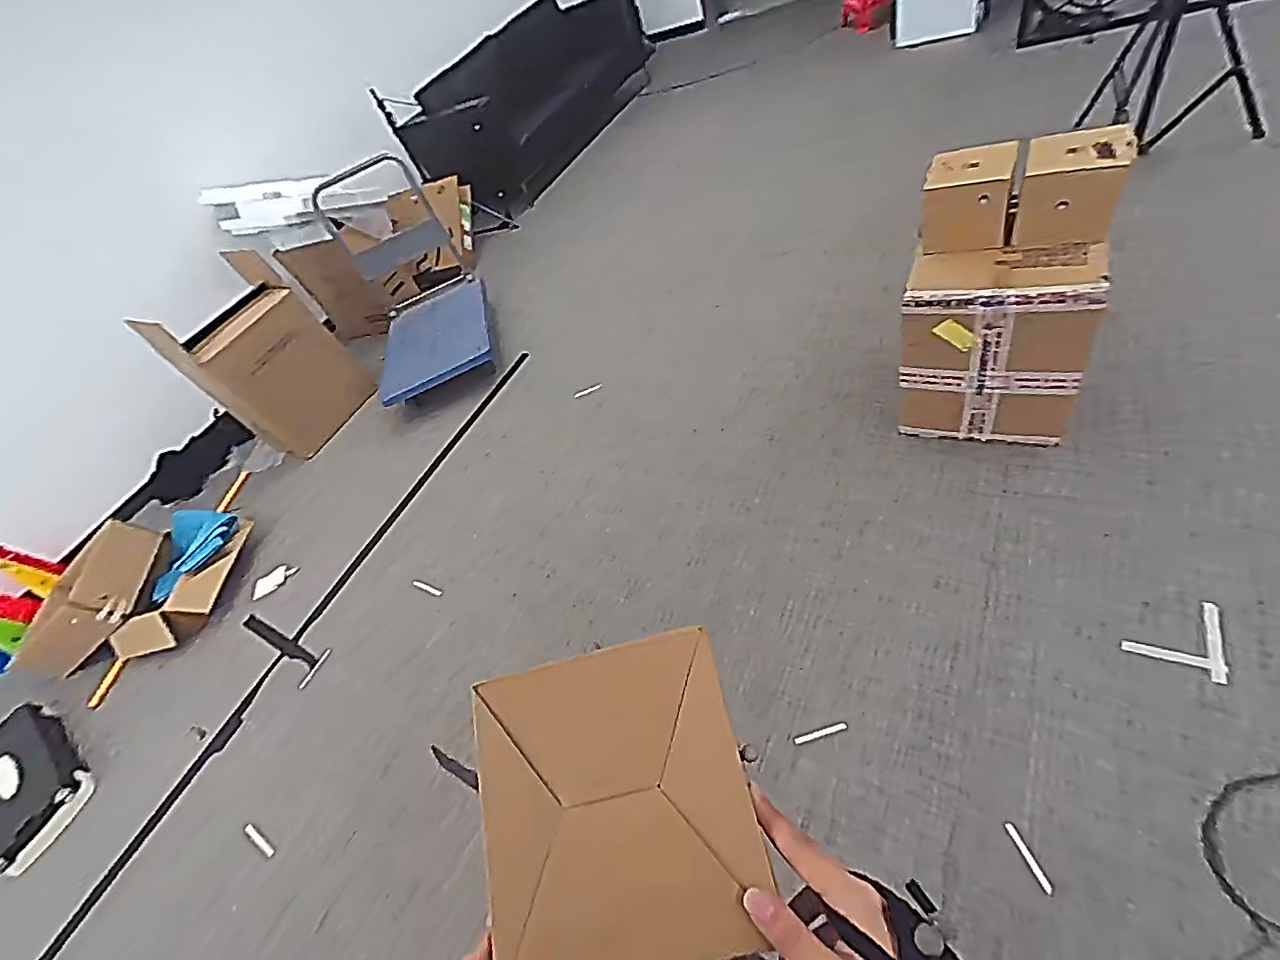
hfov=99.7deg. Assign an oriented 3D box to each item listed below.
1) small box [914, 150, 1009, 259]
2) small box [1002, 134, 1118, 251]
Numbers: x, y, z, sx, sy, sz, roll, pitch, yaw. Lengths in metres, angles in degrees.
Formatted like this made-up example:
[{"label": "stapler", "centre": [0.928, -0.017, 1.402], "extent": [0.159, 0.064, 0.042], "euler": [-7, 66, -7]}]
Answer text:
[{"label": "small box", "centre": [0.781, -0.665, 1.321], "extent": [0.179, 0.176, 0.168], "euler": [8, 56, 33]}, {"label": "small box", "centre": [0.945, -0.642, 1.226], "extent": [0.179, 0.176, 0.168], "euler": [9, 57, 30]}]
